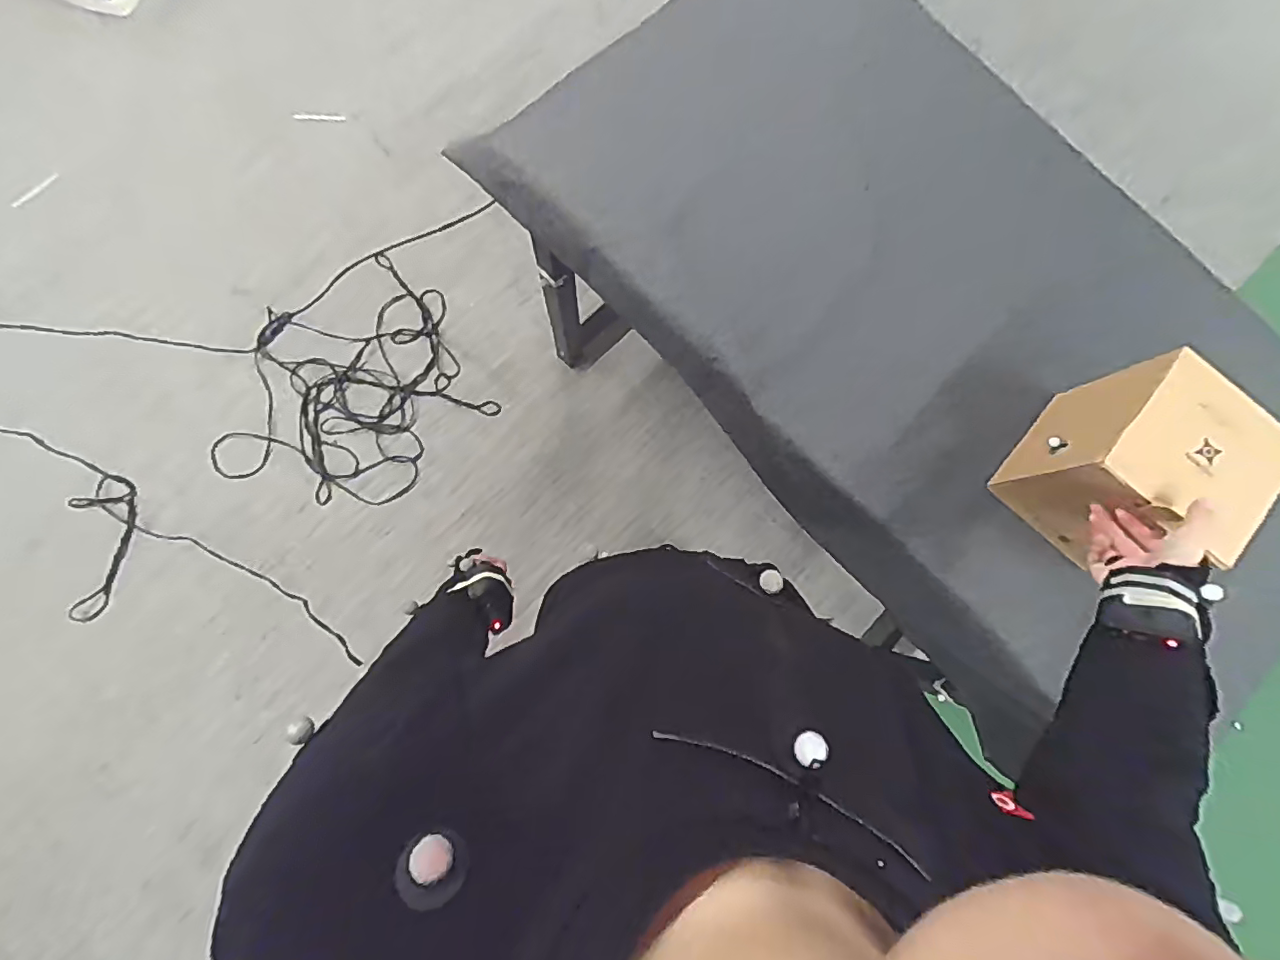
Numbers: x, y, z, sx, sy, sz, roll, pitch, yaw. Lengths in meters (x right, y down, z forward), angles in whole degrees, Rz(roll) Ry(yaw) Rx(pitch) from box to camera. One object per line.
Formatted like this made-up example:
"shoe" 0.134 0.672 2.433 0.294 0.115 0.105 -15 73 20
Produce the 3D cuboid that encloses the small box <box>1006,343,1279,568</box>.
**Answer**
"small box" 0.574 -0.015 0.622 0.168 0.176 0.179 41 80 2
